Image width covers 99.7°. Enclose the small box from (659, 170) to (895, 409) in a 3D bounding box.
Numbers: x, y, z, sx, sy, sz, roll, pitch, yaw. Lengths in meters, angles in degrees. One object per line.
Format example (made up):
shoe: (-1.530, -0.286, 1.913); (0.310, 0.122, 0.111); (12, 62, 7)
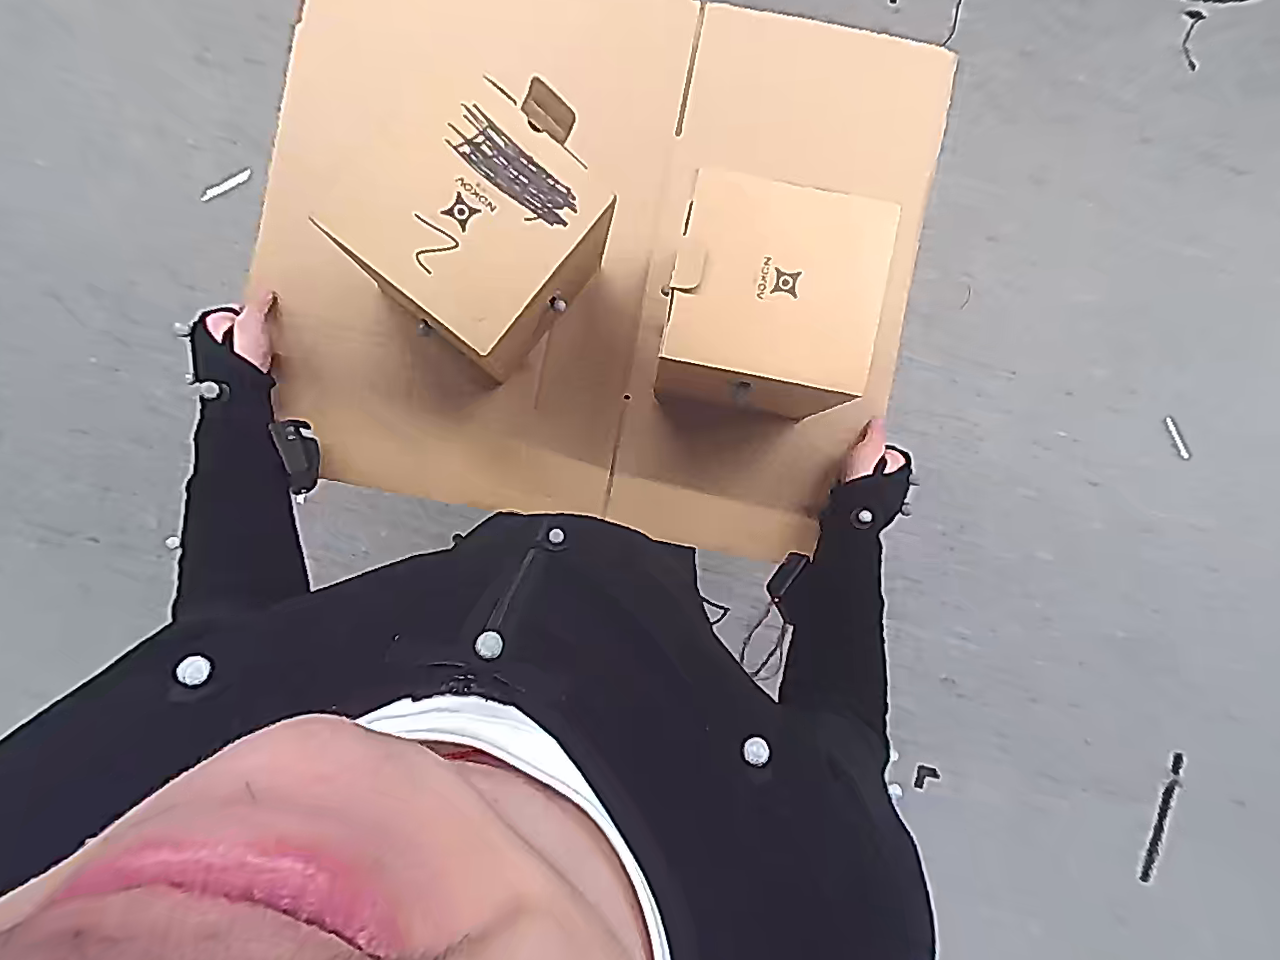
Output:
small box: (0.120, -0.172, 0.545); (0.179, 0.176, 0.168); (11, 90, 1)
